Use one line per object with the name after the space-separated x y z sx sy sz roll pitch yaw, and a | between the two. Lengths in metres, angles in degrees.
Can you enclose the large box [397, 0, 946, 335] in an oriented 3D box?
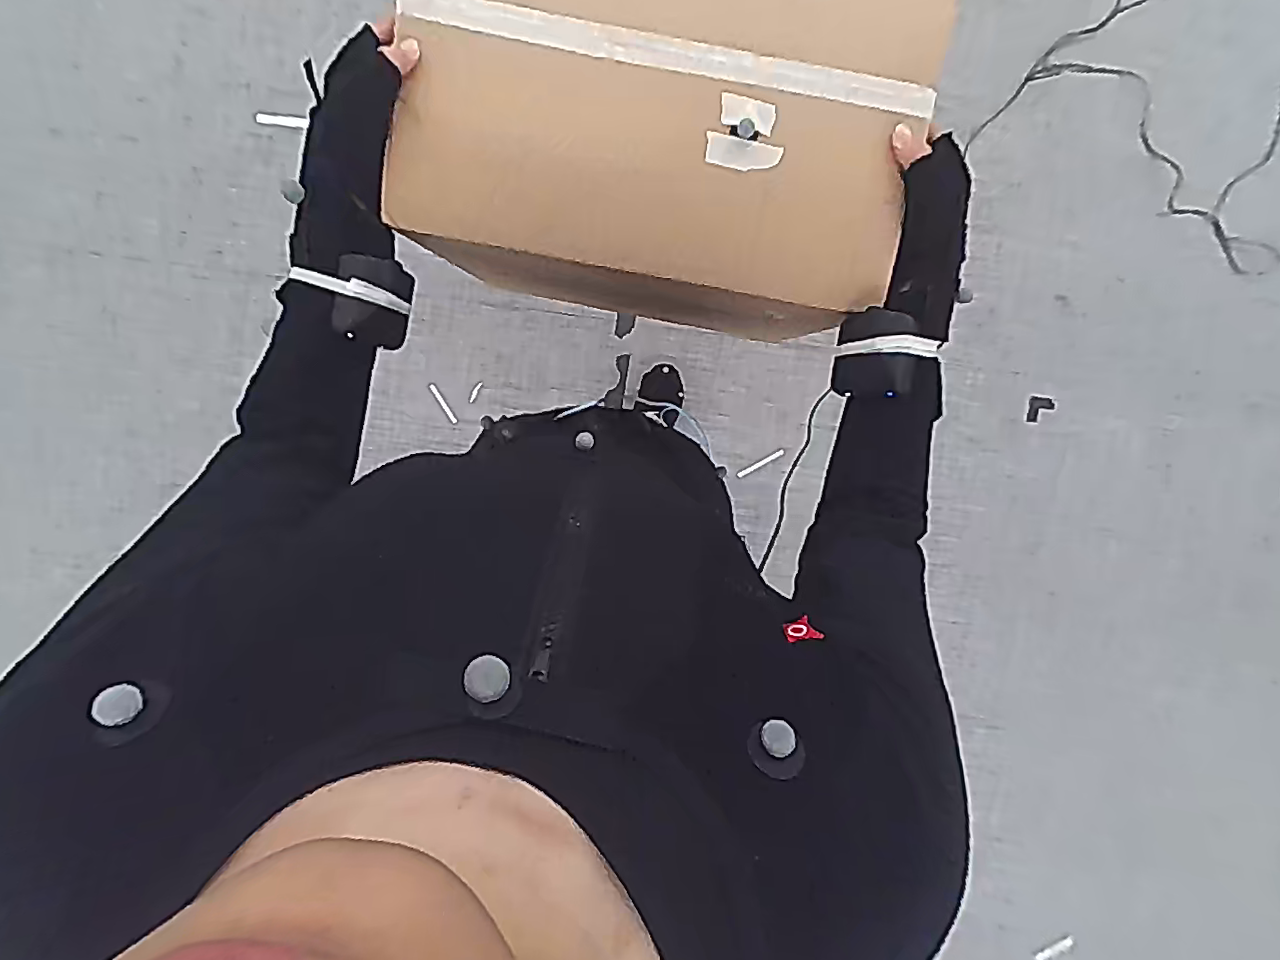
0.019 -0.346 0.560 0.408 0.320 0.320 10 102 -3 | large box
